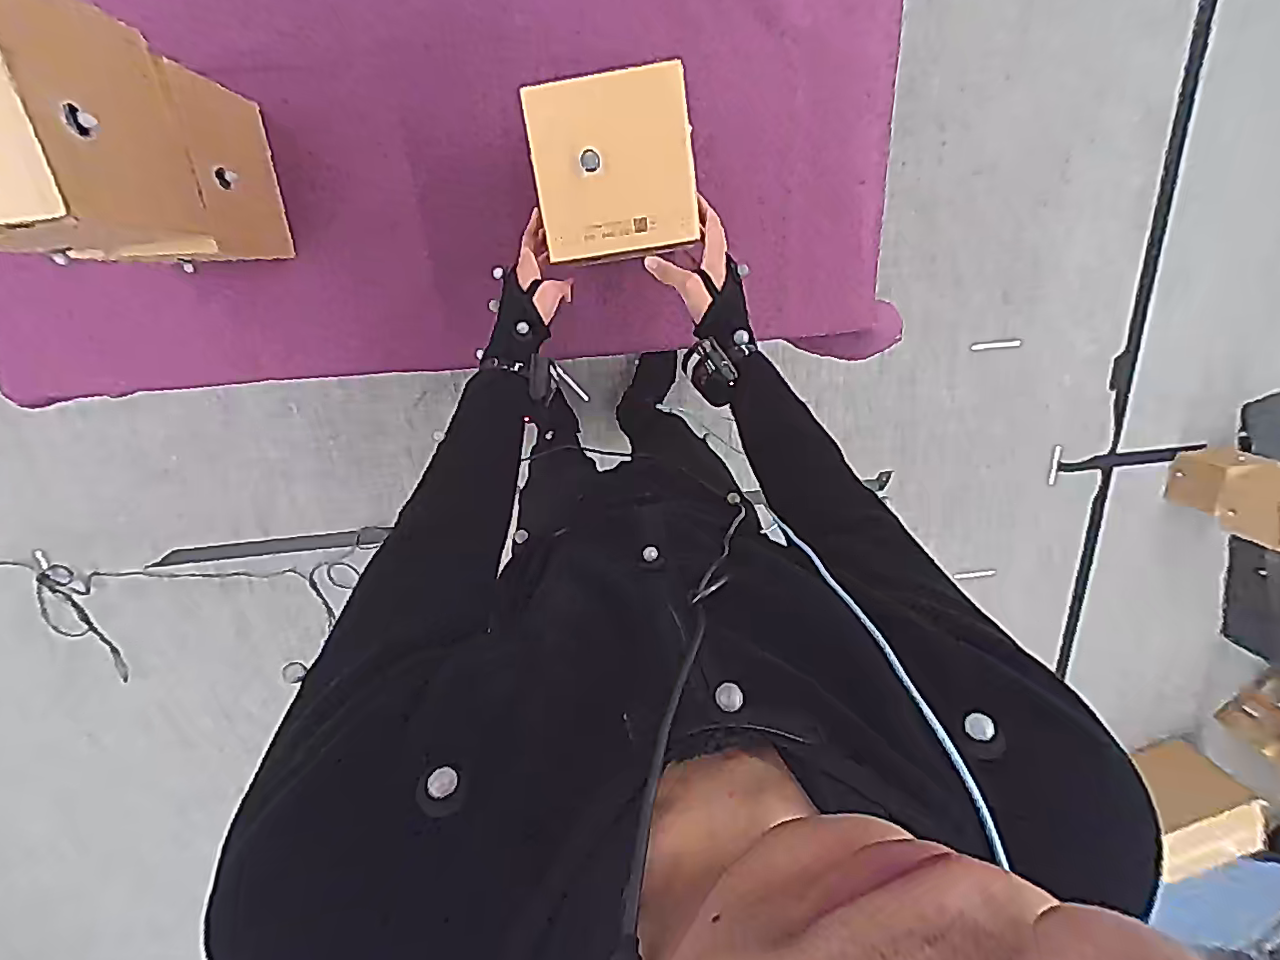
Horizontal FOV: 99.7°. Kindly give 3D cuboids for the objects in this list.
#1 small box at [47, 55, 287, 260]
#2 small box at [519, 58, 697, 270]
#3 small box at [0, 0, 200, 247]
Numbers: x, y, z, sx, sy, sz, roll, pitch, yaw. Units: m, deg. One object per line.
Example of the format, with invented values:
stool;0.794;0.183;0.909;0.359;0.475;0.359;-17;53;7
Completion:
small box;-0.535;-0.342;0.605;0.168;0.176;0.179;-4;111;-5
small box;-0.028;-0.351;0.639;0.168;0.179;0.176;-8;109;4
small box;-0.523;-0.294;0.447;0.168;0.176;0.179;-8;111;-4
